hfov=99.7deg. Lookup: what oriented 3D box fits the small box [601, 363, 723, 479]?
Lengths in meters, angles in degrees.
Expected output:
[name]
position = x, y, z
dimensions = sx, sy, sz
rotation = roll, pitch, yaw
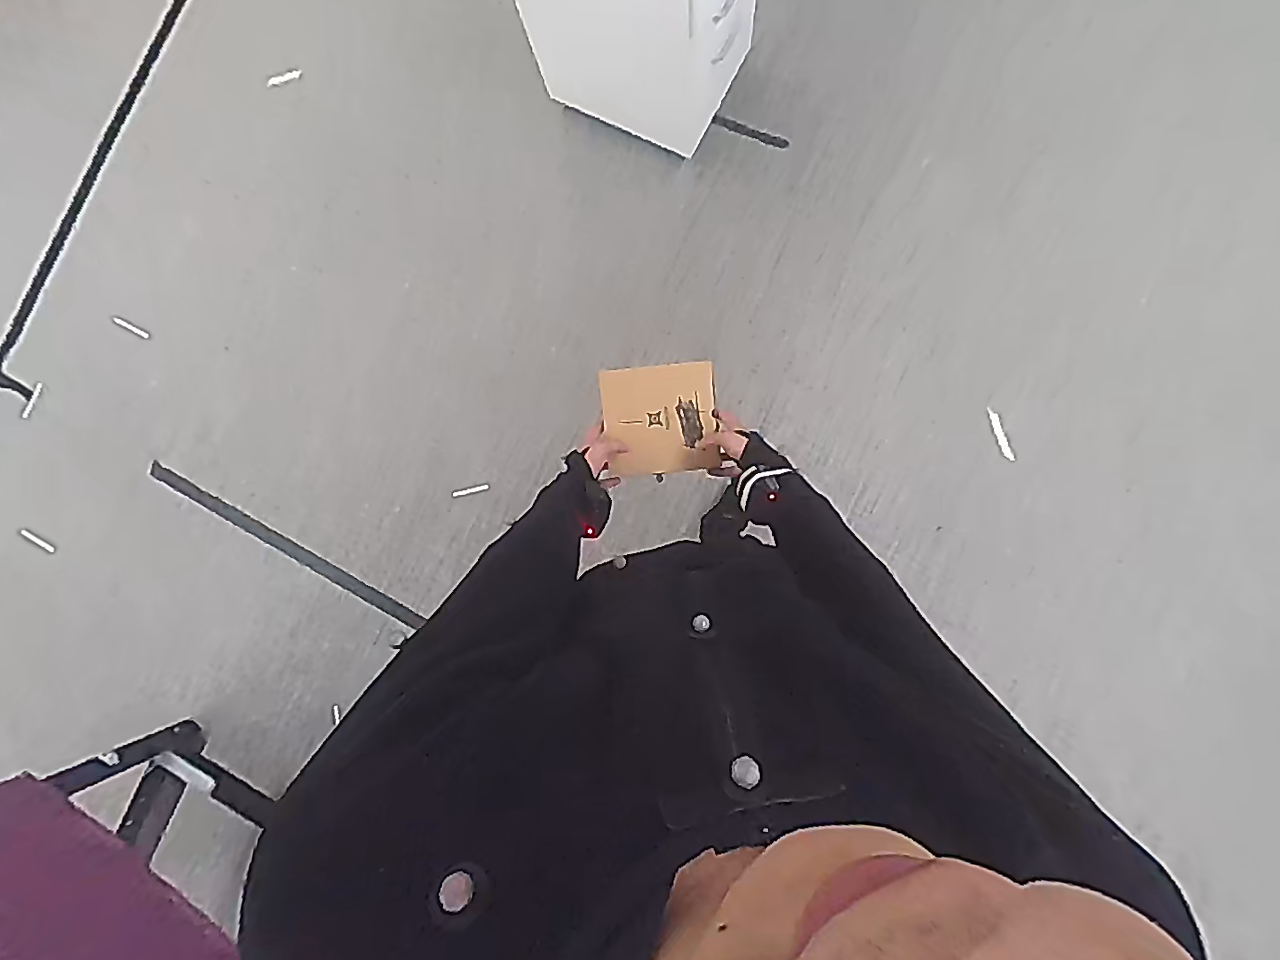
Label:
[small box]
position = 0.034, -0.093, 0.900
dimensions = 0.179, 0.176, 0.168
rotation = -6, 91, 1
